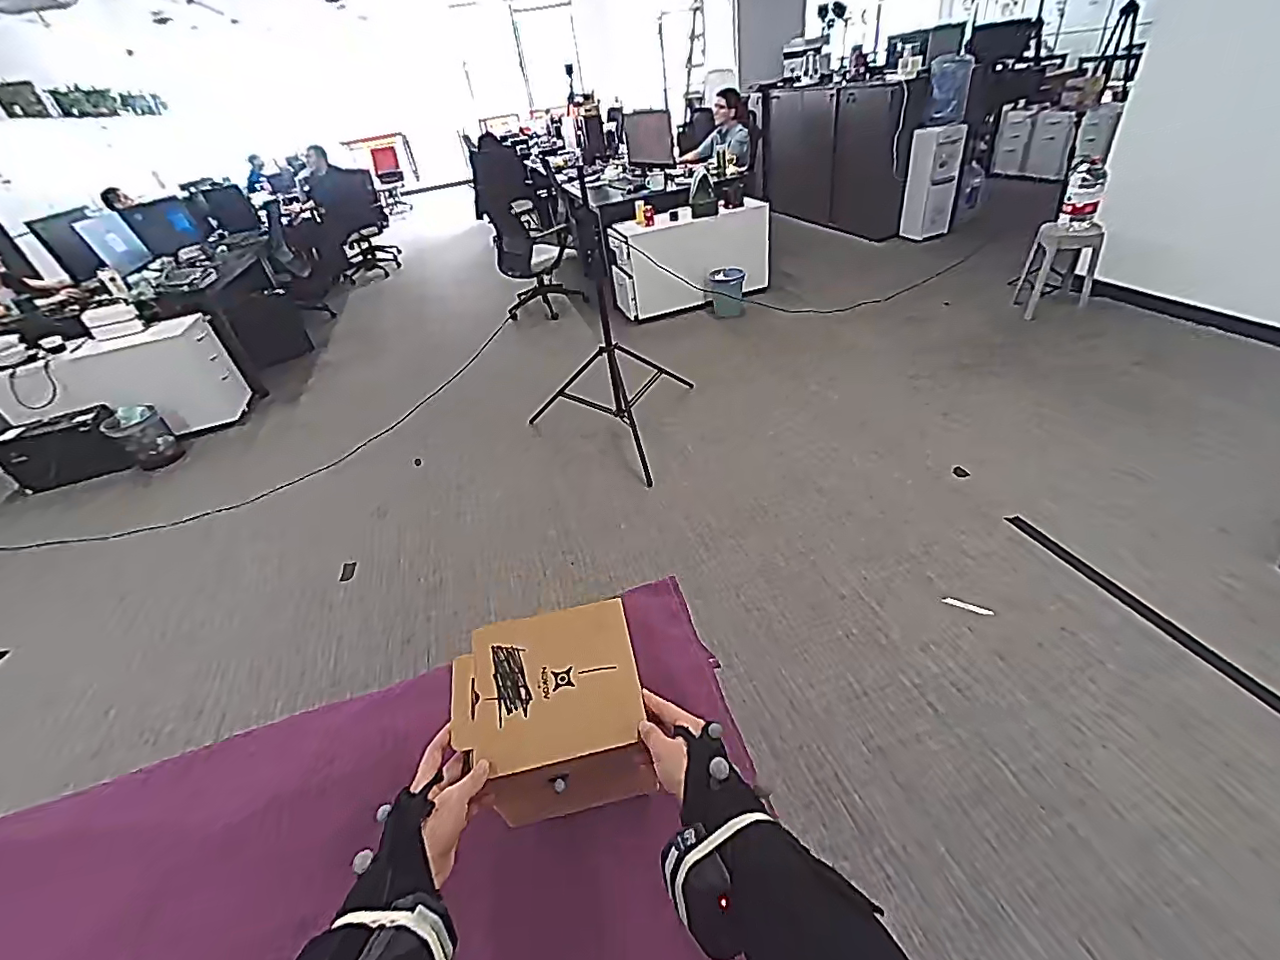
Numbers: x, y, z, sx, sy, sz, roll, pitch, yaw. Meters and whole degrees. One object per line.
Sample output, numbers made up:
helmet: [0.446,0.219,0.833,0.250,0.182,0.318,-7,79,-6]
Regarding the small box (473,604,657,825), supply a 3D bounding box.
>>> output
small box: [-0.084,0.273,0.628,0.179,0.176,0.168,-11,45,-7]
